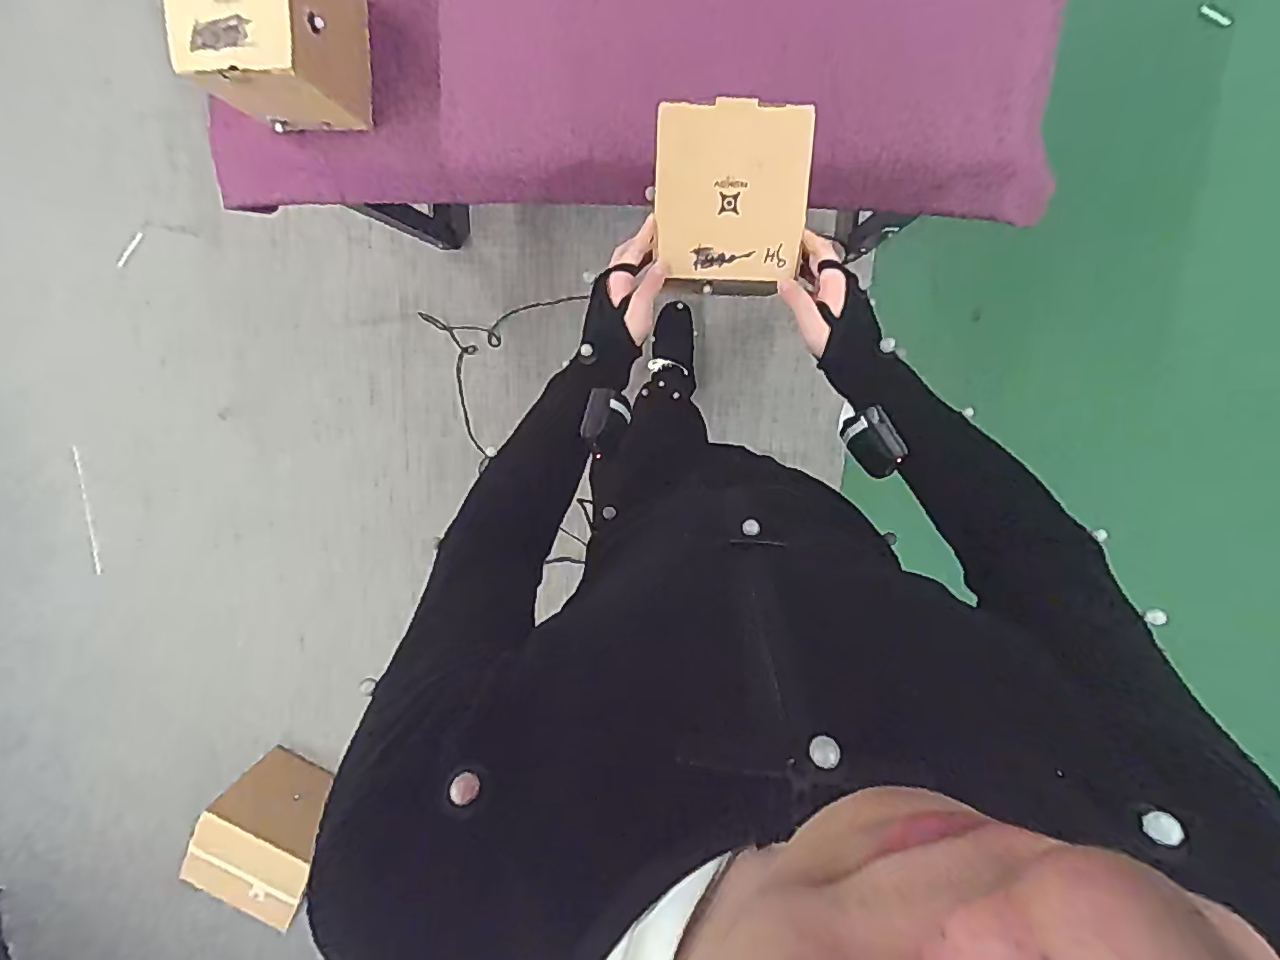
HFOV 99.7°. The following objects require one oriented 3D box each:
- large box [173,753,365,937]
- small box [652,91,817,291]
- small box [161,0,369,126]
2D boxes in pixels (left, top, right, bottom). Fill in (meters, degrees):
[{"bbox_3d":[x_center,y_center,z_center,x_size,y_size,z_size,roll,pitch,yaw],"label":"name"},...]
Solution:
[{"bbox_3d":[-1.256,1.235,1.861,0.408,0.320,0.320,27,104,-1],"label":"large box"},{"bbox_3d":[0.101,-0.333,0.655,0.168,0.176,0.179,3,104,2],"label":"small box"},{"bbox_3d":[-0.486,-0.599,0.720,0.168,0.176,0.179,4,101,5],"label":"small box"}]
